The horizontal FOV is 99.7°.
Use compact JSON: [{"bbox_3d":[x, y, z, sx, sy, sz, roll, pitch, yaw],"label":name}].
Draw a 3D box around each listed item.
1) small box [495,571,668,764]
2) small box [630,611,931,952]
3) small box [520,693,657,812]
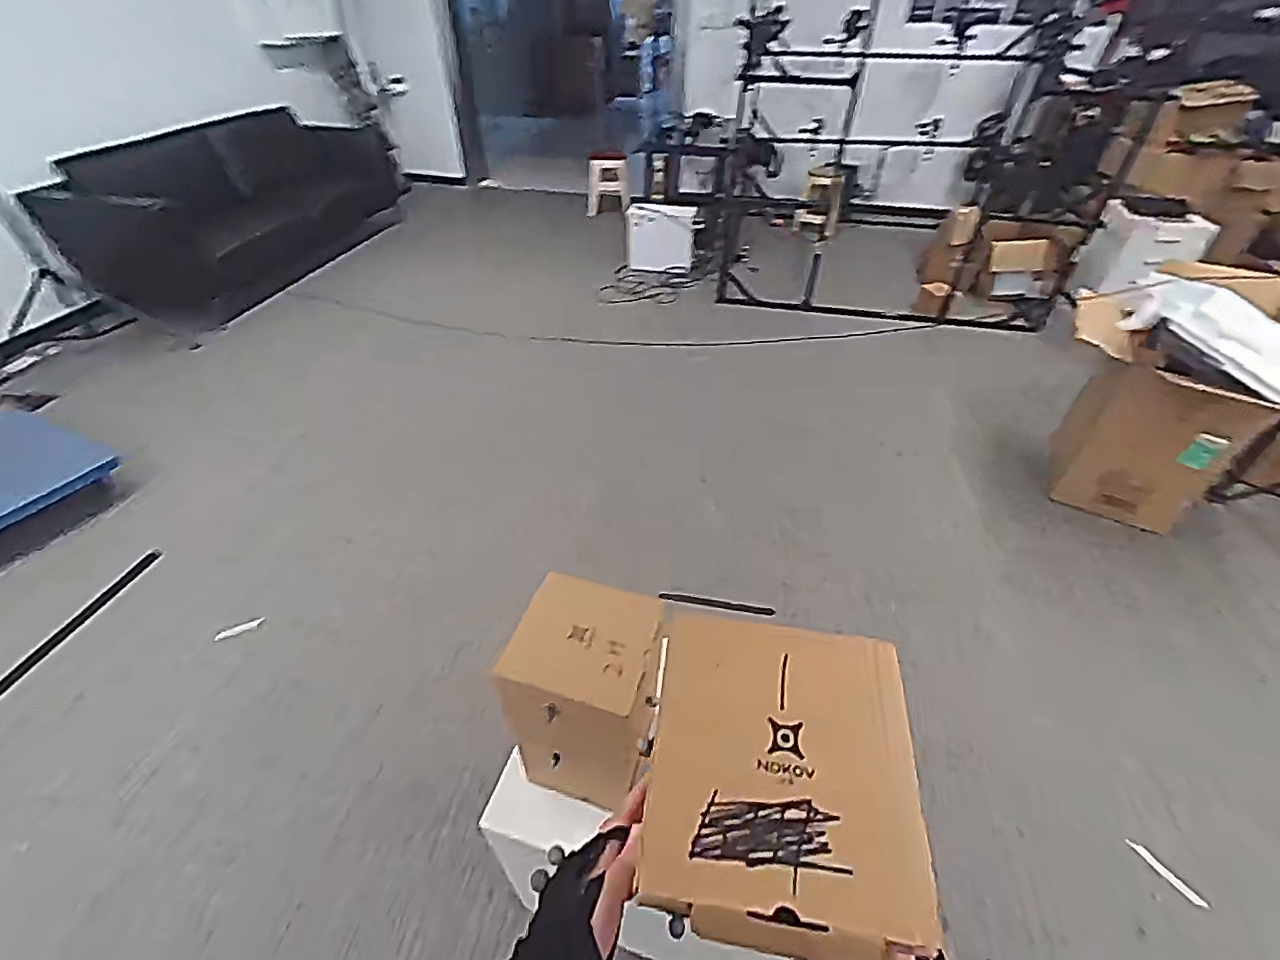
[{"bbox_3d":[-0.069,0.256,0.736,0.179,0.176,0.168,13,44,12],"label":"small box"},{"bbox_3d":[0.089,0.225,0.409,0.168,0.176,0.179,7,50,5],"label":"small box"},{"bbox_3d":[-0.071,0.377,0.848,0.168,0.176,0.179,13,42,13],"label":"small box"}]
